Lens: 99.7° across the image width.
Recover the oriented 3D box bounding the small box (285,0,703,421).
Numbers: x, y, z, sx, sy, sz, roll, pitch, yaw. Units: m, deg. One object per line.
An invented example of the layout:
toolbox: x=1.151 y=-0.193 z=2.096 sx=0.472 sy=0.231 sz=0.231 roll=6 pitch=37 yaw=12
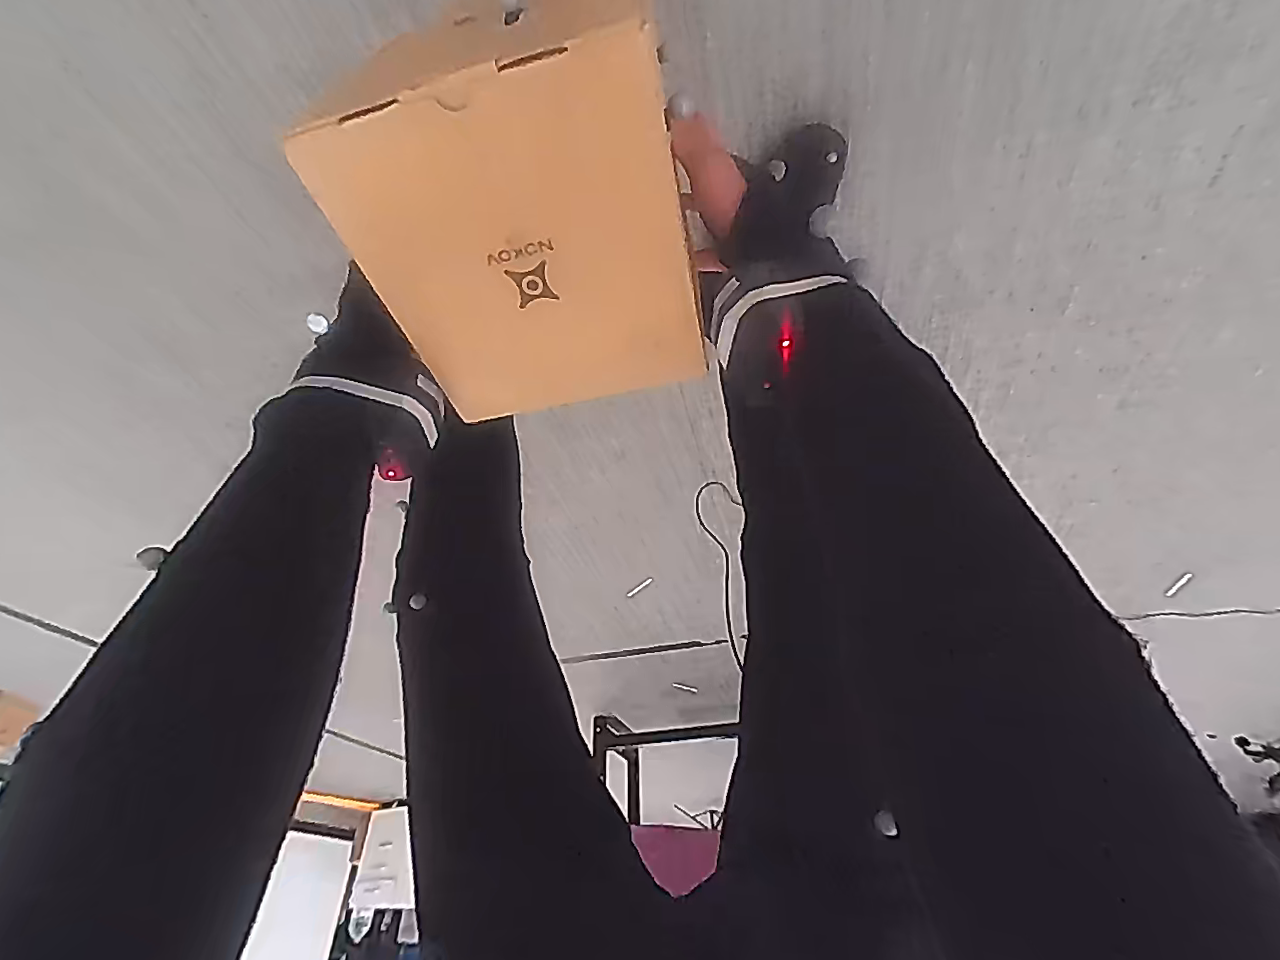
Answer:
small box: x=-0.057 y=-0.166 z=0.335 sx=0.168 sy=0.176 sz=0.179 roll=-9 pitch=138 yaw=10
